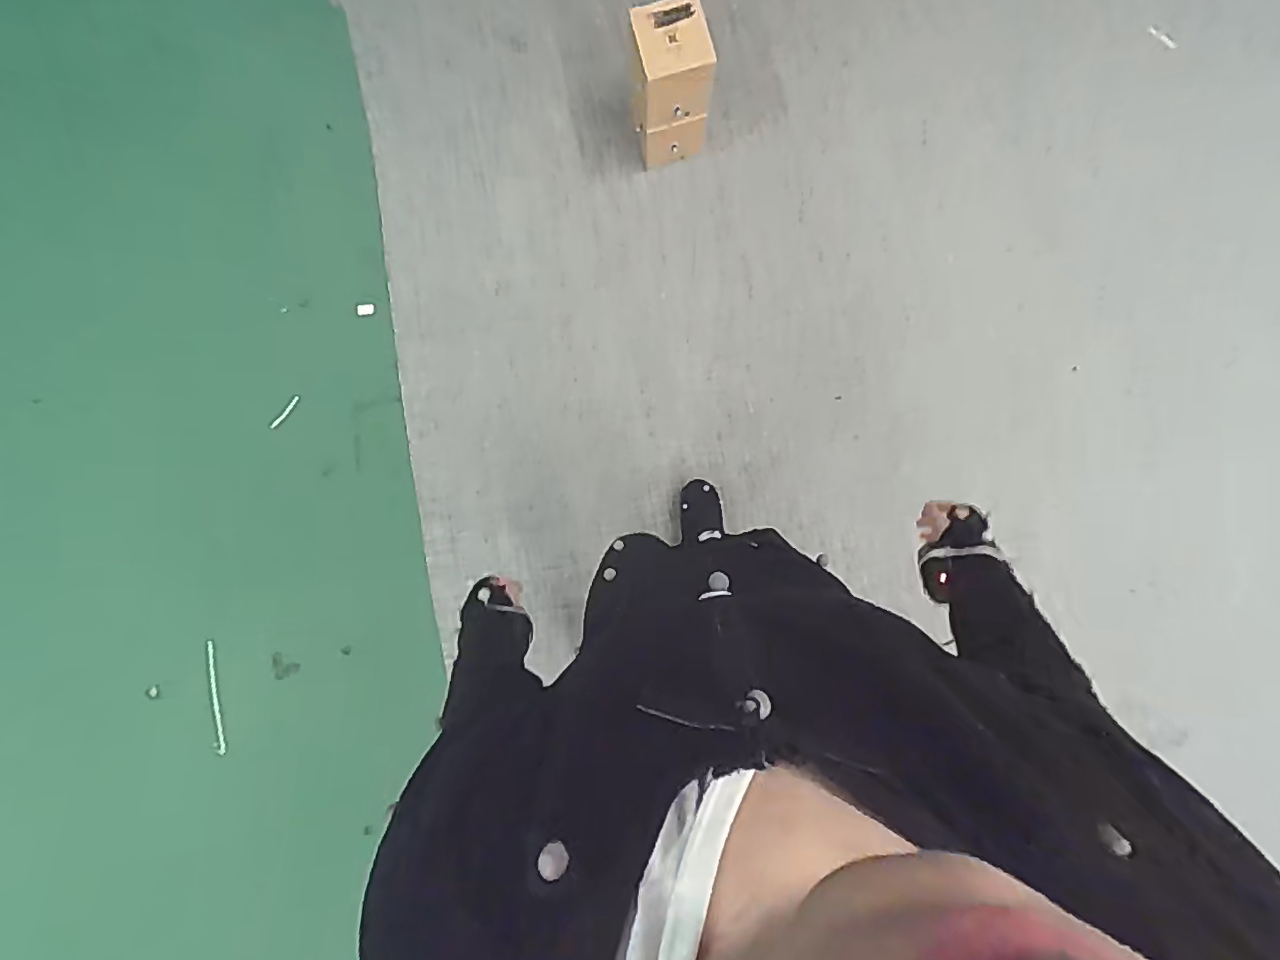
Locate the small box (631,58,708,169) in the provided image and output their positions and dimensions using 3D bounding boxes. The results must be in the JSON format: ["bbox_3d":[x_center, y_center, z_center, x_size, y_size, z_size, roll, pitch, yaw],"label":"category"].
[{"bbox_3d":[0.079,-0.983,1.472,0.168,0.176,0.179,-16,88,0],"label":"small box"}]
